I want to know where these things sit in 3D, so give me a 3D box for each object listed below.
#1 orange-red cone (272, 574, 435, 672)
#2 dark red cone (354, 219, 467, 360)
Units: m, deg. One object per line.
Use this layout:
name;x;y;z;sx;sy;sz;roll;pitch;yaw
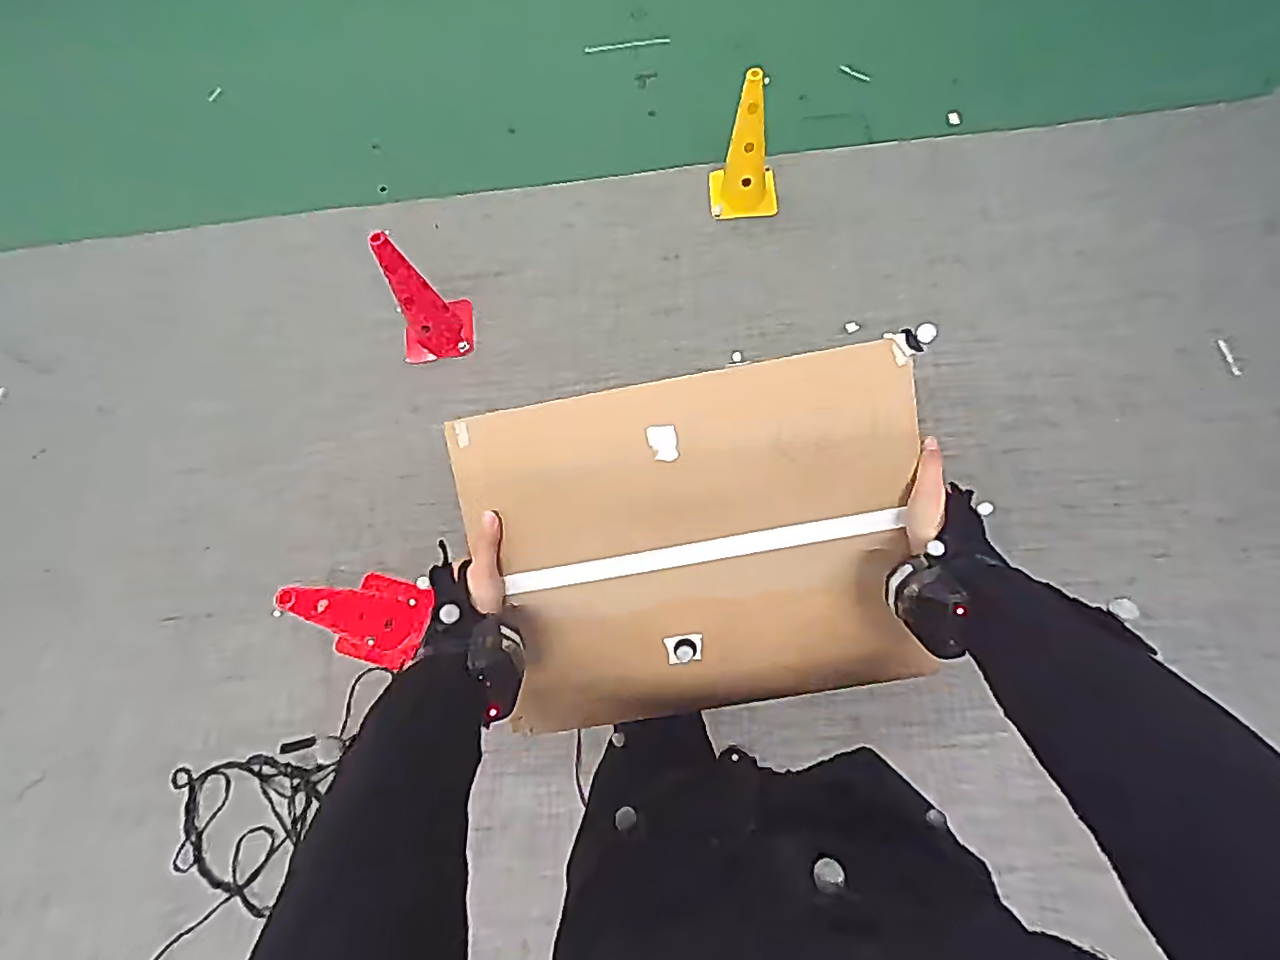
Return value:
orange-red cone;-0.629;0.273;1.136;0.199;0.360;0.198;13;69;13
dark red cone;-0.619;-0.511;1.427;0.202;0.394;0.201;-12;65;1
